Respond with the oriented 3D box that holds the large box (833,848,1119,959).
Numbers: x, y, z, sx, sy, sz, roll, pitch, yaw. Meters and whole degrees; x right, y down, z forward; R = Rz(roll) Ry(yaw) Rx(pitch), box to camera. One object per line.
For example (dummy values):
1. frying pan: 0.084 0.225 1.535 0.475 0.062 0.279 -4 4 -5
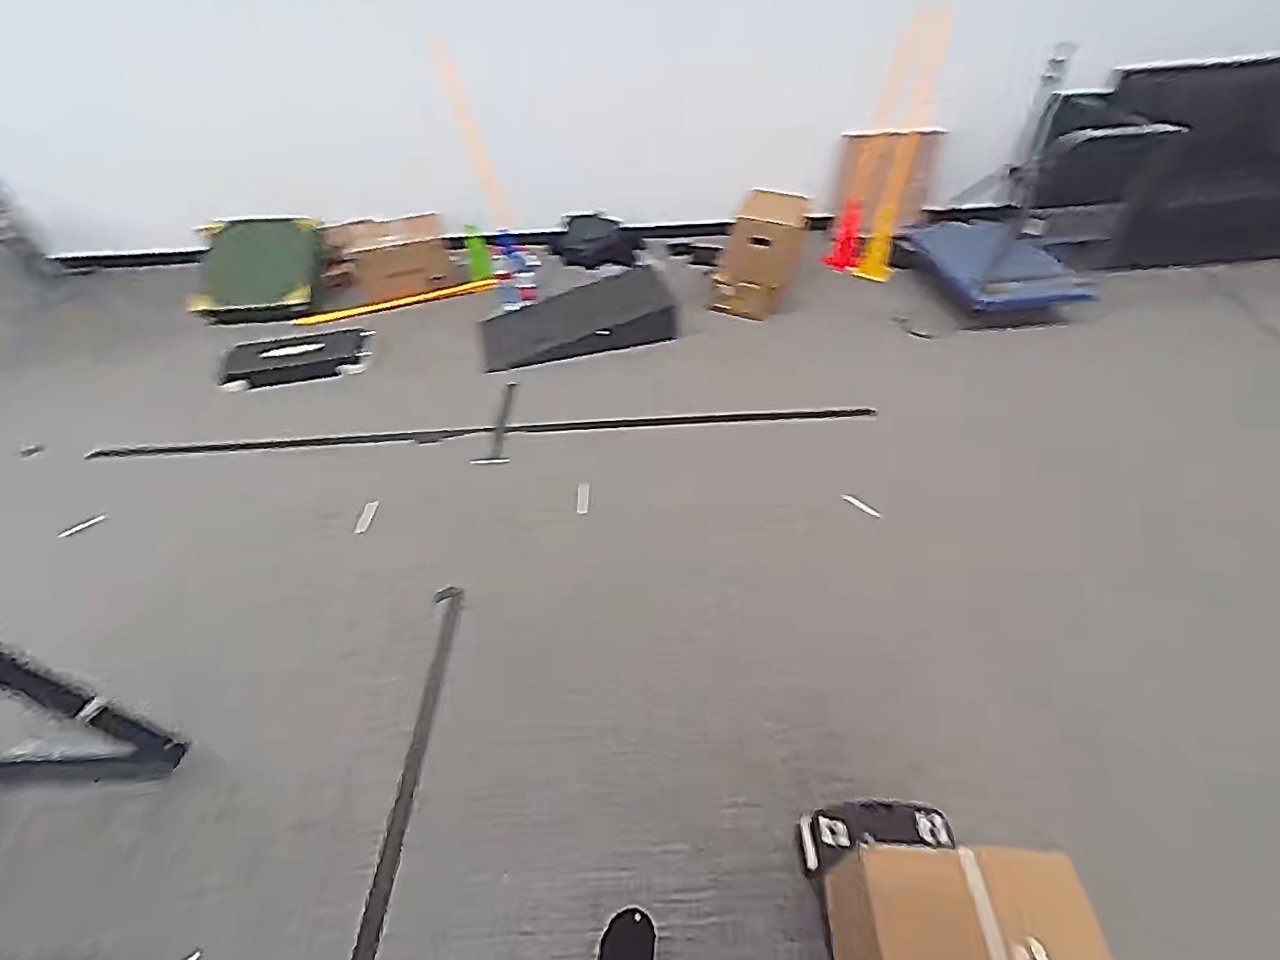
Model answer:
1. large box: 0.499 0.812 0.784 0.320 0.320 0.408 1 44 4
